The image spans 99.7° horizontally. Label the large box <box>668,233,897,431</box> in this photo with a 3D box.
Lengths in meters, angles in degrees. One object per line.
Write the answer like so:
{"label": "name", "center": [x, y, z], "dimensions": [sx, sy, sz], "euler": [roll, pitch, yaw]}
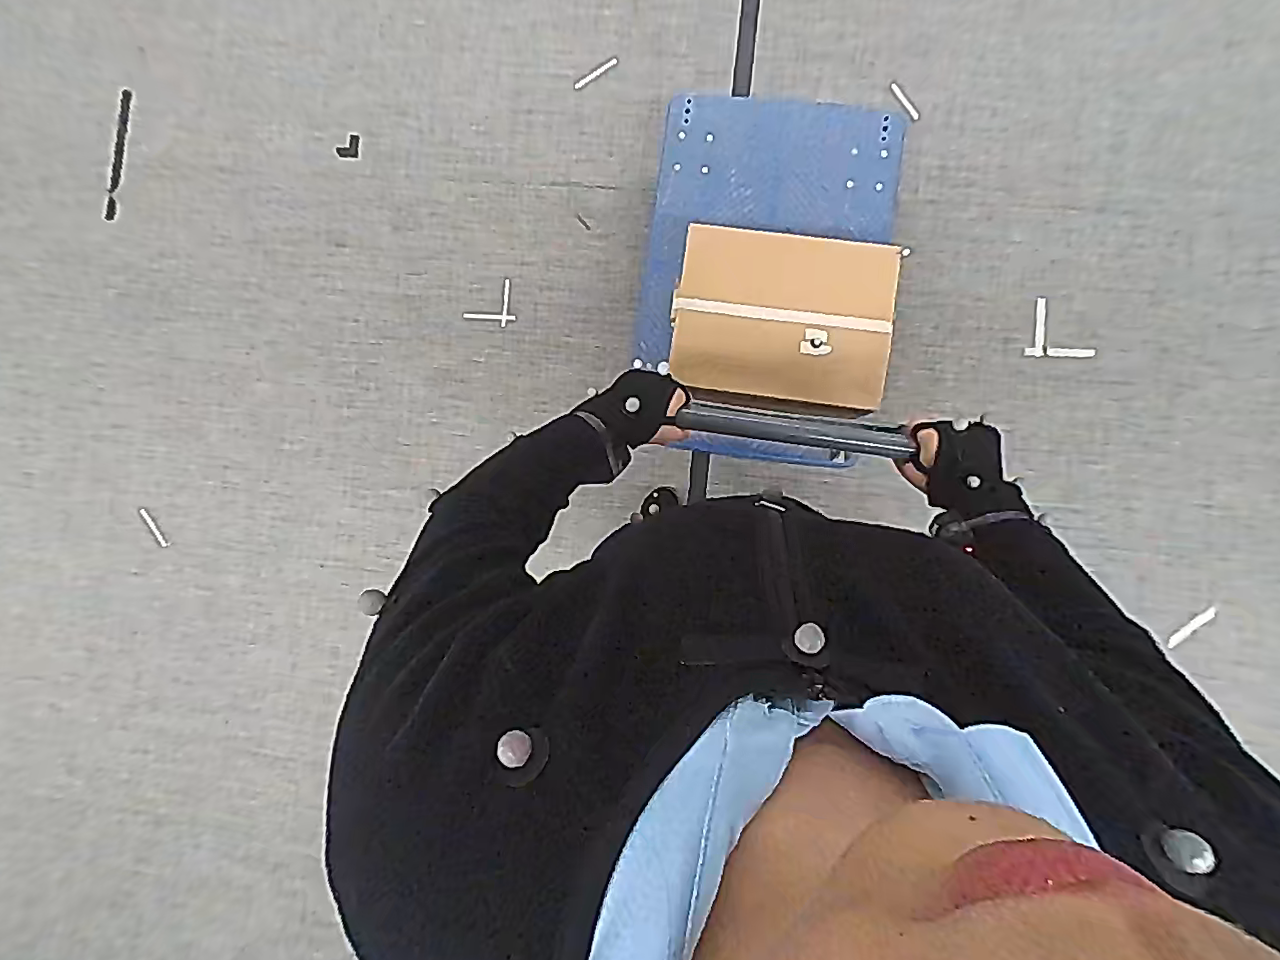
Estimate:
{"label": "large box", "center": [0.276, -0.296, 1.173], "dimensions": [0.408, 0.320, 0.320], "euler": [8, 90, 3]}
